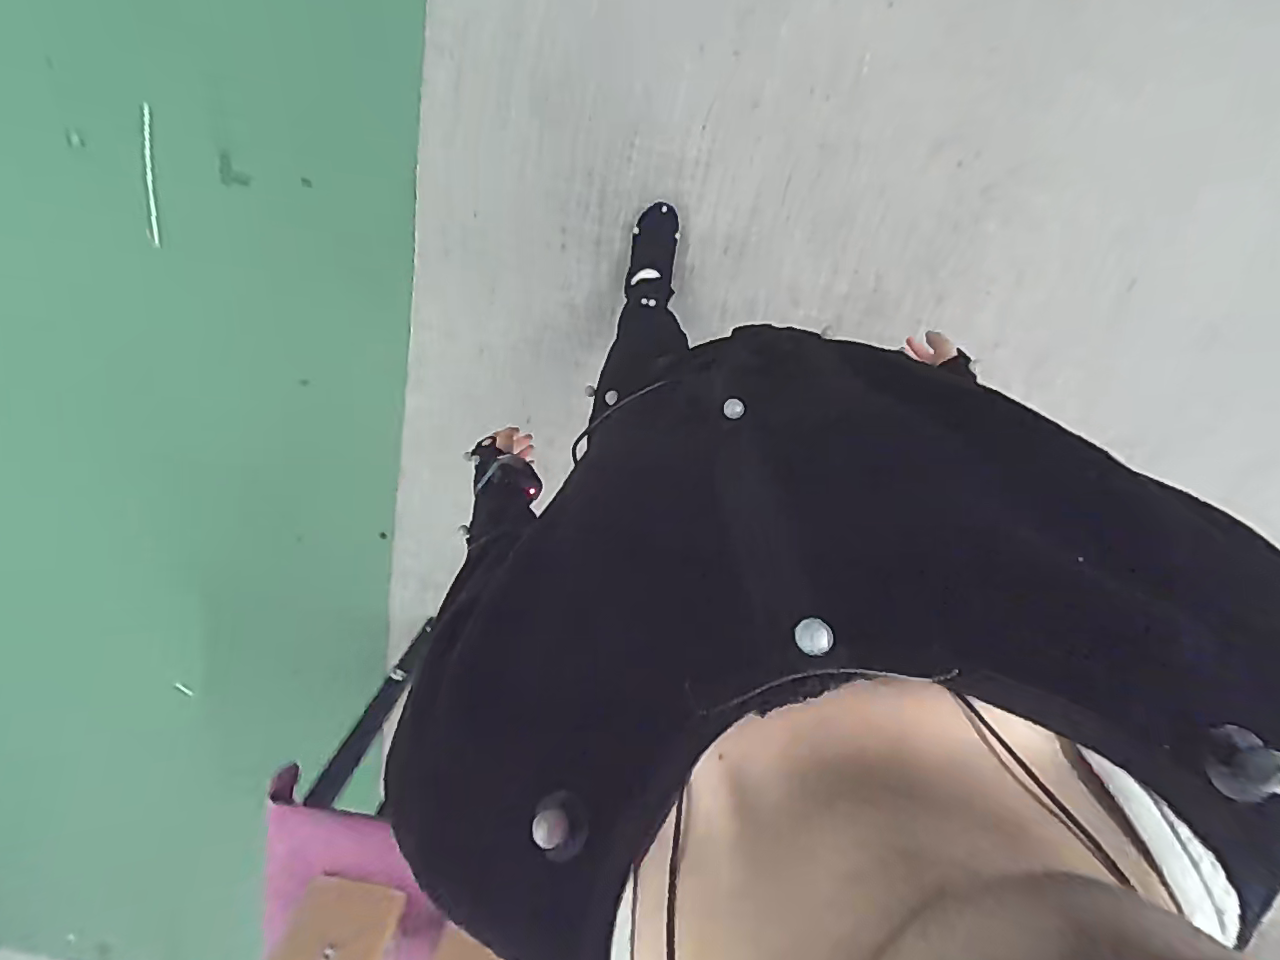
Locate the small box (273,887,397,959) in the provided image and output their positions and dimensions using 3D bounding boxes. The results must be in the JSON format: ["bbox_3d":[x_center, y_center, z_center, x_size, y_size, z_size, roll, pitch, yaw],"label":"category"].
[{"bbox_3d":[-0.576,0.903,1.006,0.179,0.176,0.168,15,110,-3],"label":"small box"}]

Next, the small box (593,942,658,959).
[{"bbox_3d":[-0.033,1.044,1.039,0.168,0.176,0.179,25,109,-7],"label":"small box"}]
